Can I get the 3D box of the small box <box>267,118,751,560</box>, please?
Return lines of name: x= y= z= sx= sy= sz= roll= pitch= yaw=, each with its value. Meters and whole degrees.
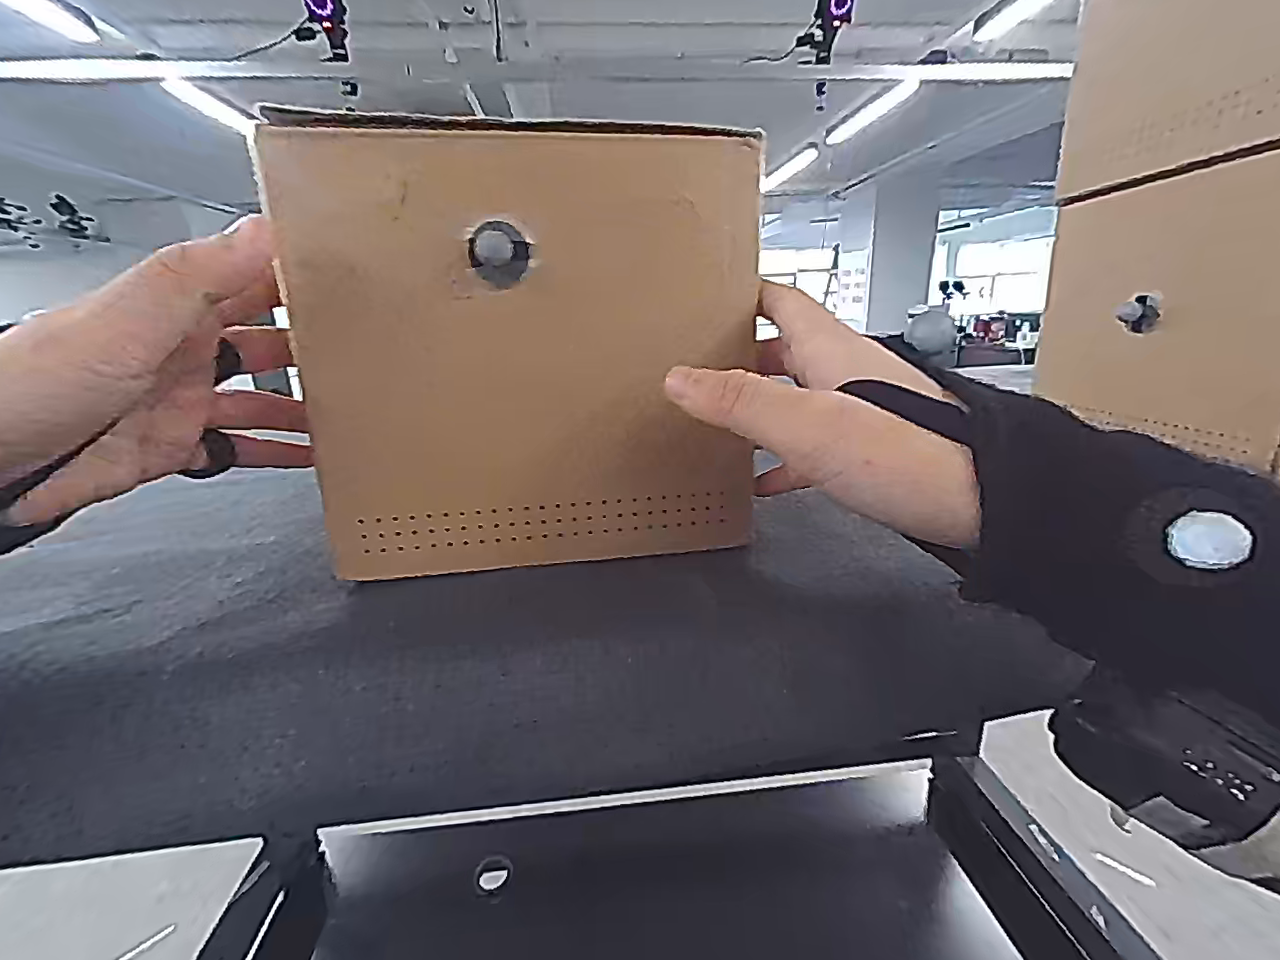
small box: x=-0.049 y=-0.065 z=0.288 sx=0.179 sy=0.176 sz=0.168 roll=-4 pitch=16 yaw=-8

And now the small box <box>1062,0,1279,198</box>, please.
small box: x=0.368 y=-0.258 z=0.281 sx=0.168 sy=0.176 sz=0.179 roll=-5 pitch=17 yaw=0
